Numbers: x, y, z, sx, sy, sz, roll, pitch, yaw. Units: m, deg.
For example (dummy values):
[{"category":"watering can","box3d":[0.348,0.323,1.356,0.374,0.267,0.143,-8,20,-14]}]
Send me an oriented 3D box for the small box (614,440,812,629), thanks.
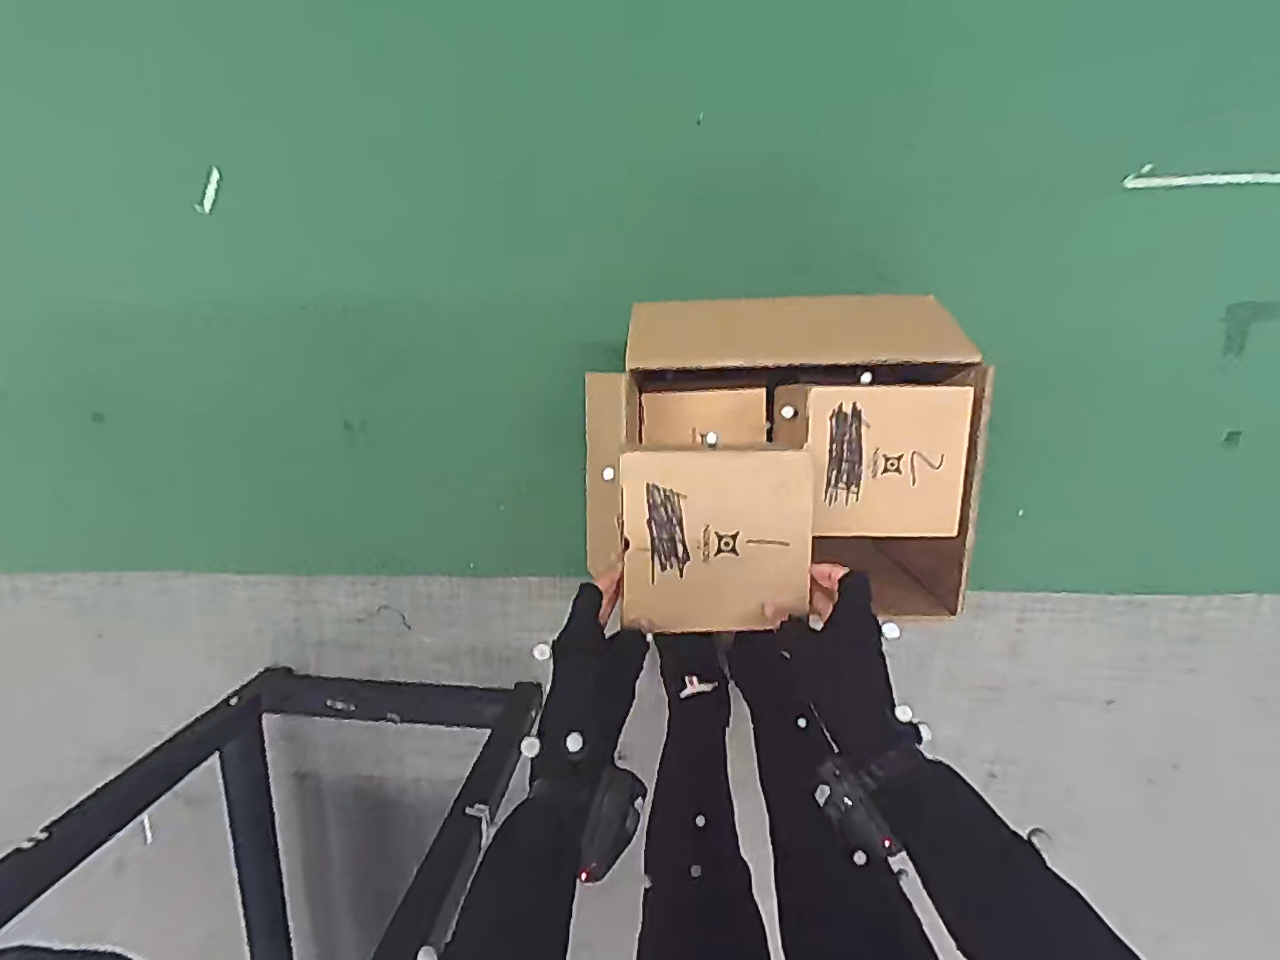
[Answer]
[{"category":"small box","box3d":[0.061,0.046,0.564,0.179,0.176,0.168,-1,97,-4]}]
